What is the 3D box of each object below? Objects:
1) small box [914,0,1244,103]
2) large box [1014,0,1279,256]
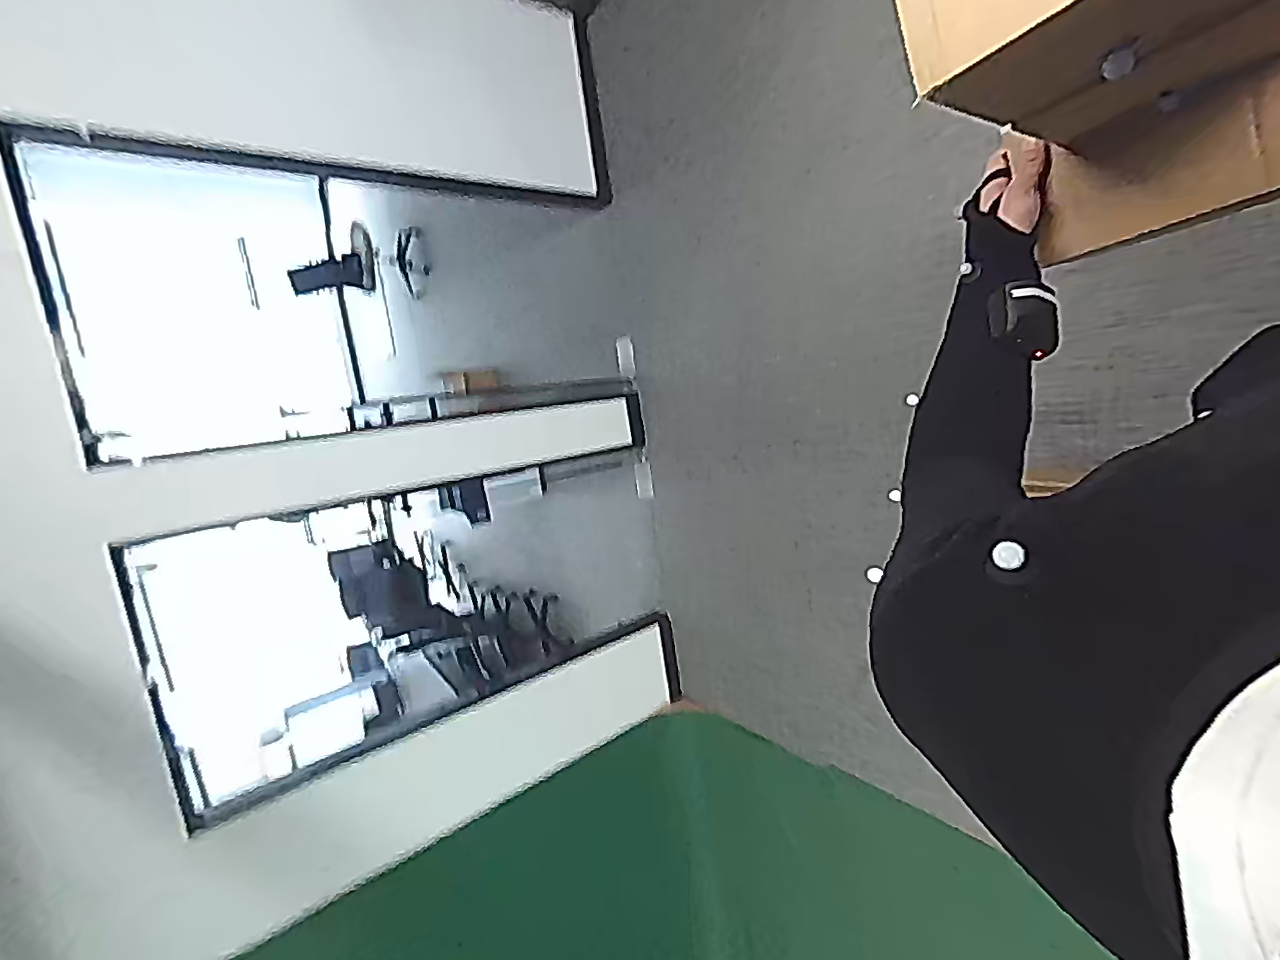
[{"bbox_3d":[0.259,-0.348,0.296,0.168,0.176,0.179,-6,104,51],"label":"small box"},{"bbox_3d":[0.615,-0.441,0.493,0.408,0.320,0.320,-8,102,51],"label":"large box"}]
